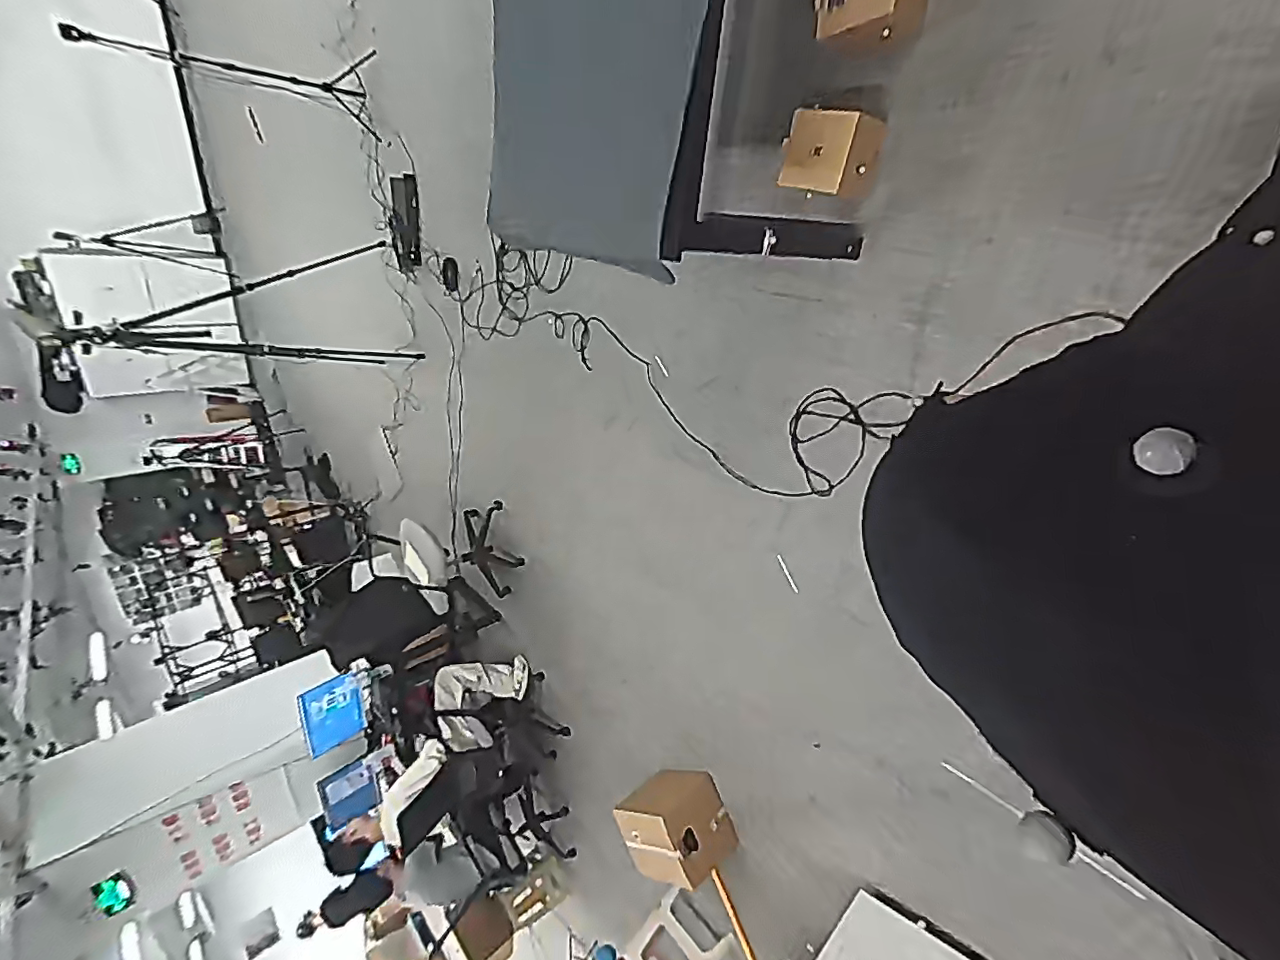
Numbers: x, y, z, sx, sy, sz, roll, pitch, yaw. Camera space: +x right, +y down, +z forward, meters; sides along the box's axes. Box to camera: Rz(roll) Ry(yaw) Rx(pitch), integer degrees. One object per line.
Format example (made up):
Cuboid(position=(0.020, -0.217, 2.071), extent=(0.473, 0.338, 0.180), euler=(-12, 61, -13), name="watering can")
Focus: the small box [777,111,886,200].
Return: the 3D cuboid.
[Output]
Cuboid(position=(0.477, -0.803, 1.345), extent=(0.179, 0.176, 0.168), euler=(33, 127, 36), name="small box")
